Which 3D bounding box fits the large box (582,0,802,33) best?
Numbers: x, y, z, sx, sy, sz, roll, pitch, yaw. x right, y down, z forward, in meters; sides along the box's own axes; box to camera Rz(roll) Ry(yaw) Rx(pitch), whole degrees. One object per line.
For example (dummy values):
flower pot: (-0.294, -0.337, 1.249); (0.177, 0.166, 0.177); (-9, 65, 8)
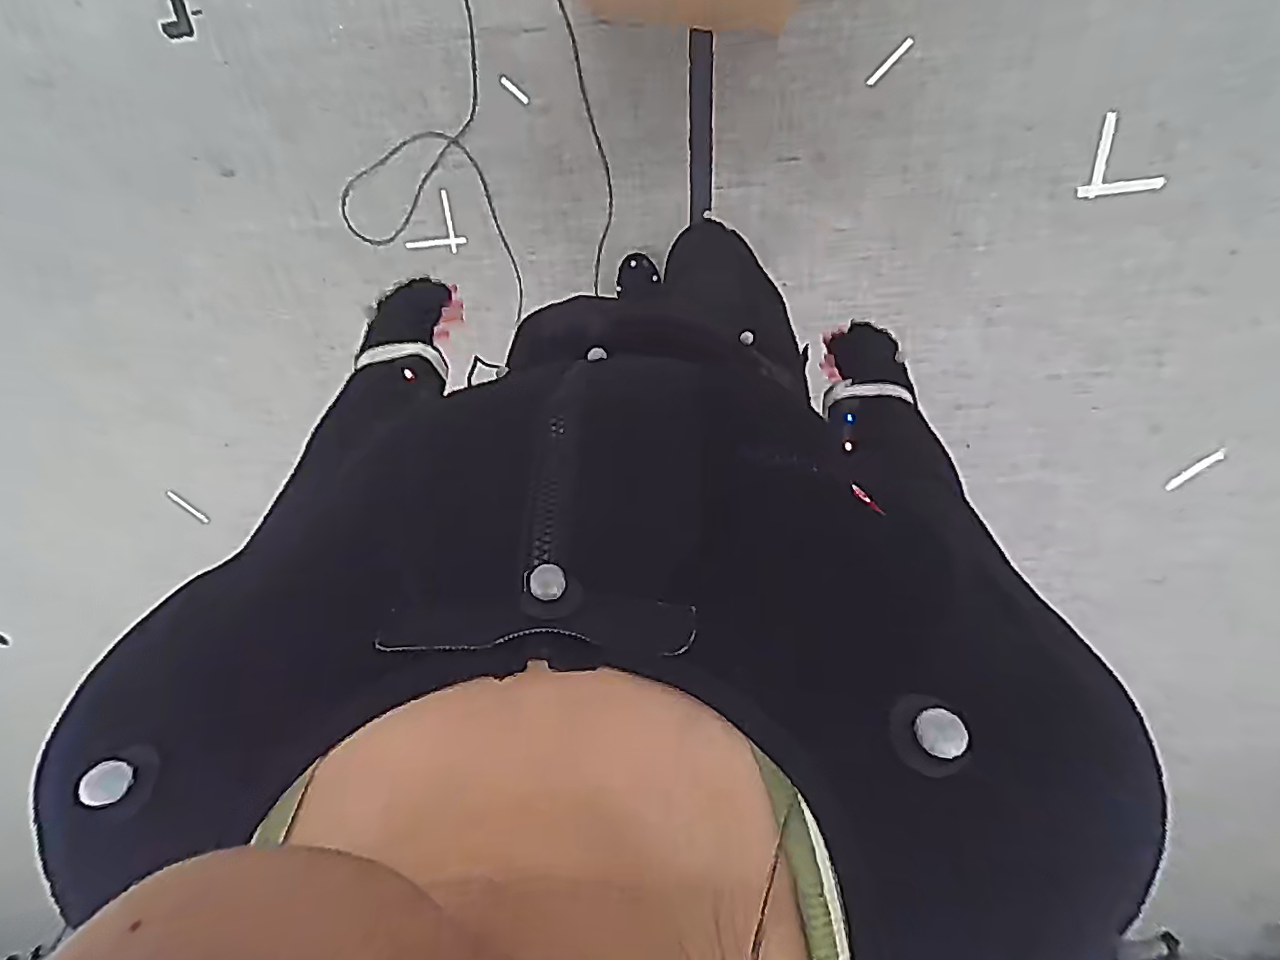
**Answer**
large box: (0.097, -1.005, 0.924); (0.408, 0.320, 0.320); (5, 115, 1)
